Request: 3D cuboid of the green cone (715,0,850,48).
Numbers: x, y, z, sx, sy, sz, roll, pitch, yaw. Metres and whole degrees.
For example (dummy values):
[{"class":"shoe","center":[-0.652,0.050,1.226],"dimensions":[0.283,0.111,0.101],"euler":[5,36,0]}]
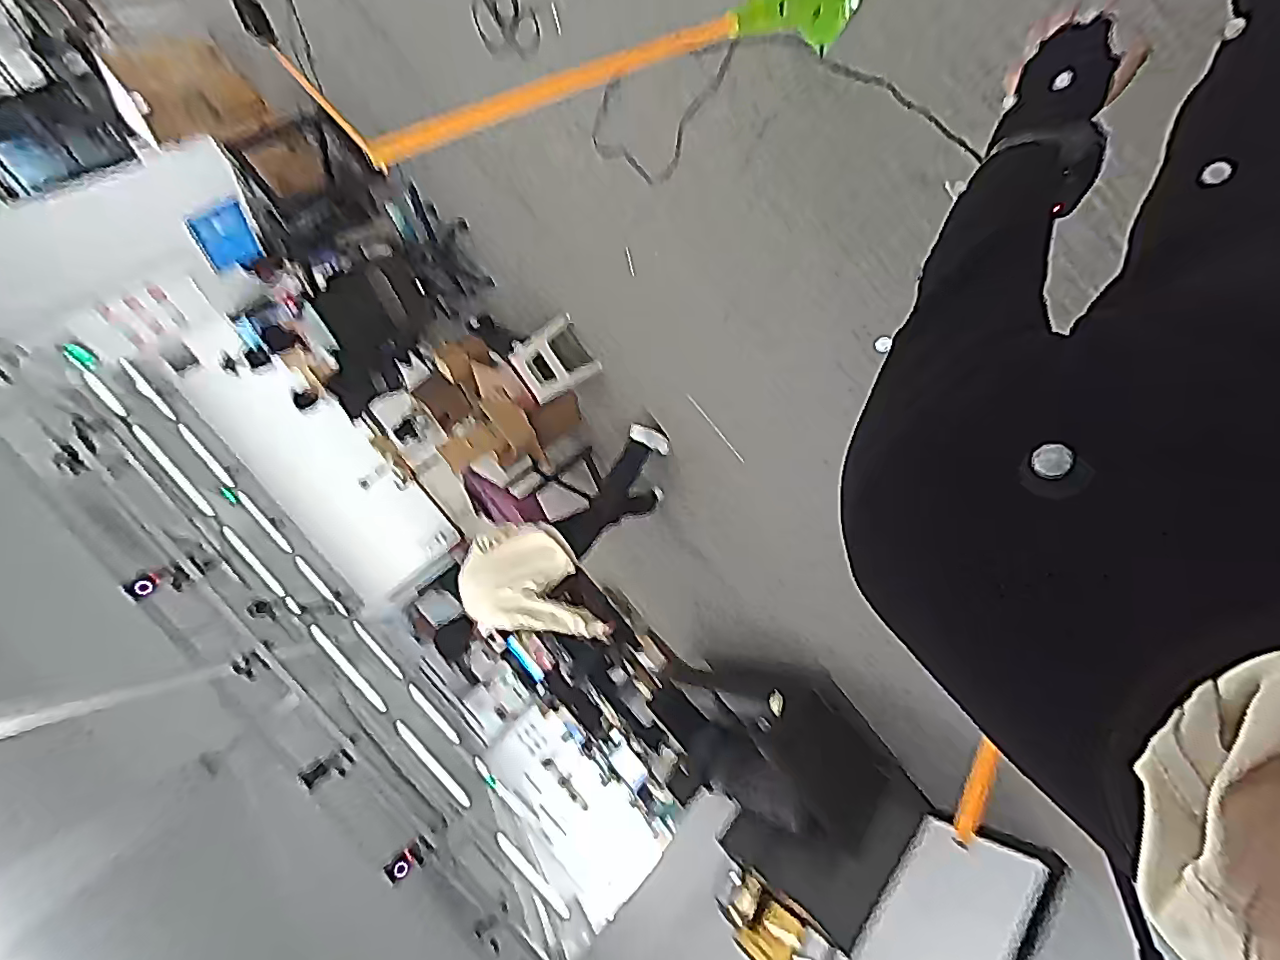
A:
[{"class":"green cone","center":[0.308,-1.112,1.245],"dimensions":[0.202,0.368,0.200],"euler":[50,156,0]}]
